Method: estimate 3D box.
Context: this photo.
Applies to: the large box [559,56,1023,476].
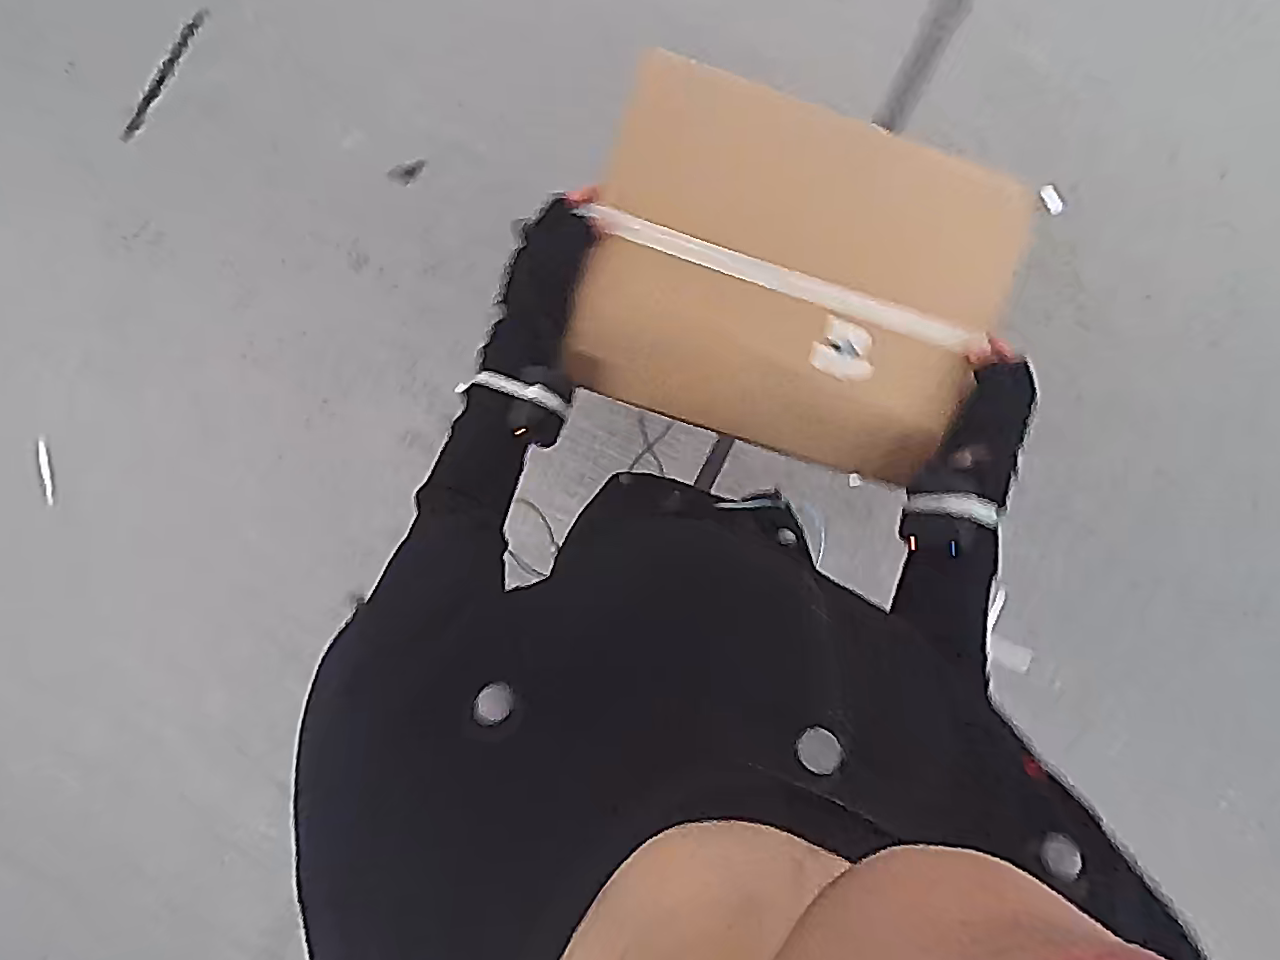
[{"bbox_3d":[0.142,-0.223,0.685,0.408,0.320,0.320,17,99,-4],"label":"large box"}]
